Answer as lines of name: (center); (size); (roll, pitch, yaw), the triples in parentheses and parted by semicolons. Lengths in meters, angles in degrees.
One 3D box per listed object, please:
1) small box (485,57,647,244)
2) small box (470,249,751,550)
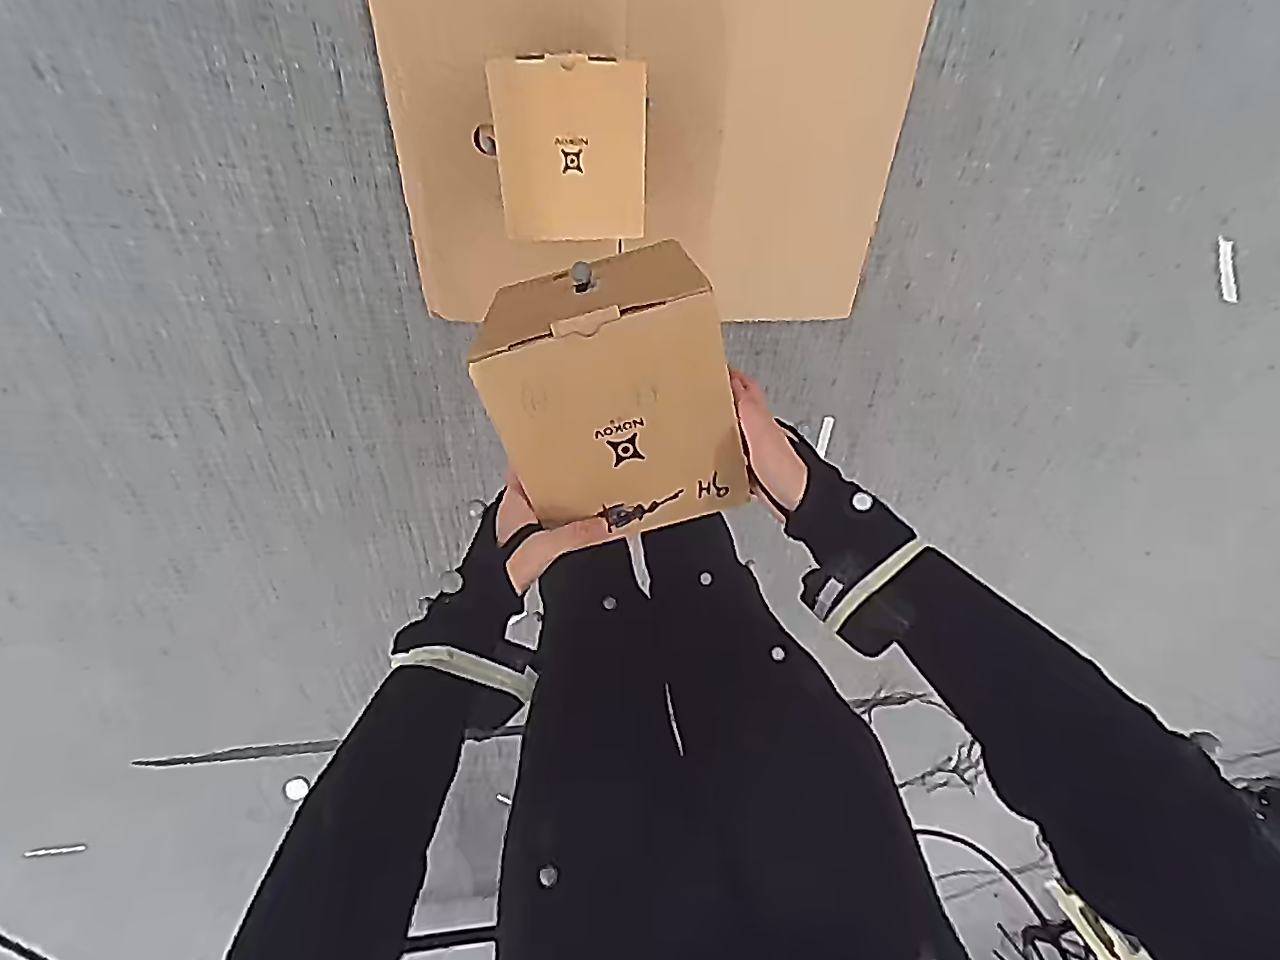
small box: (-0.085, -0.401, 0.659); (0.168, 0.176, 0.179); (-4, 126, -7)
small box: (-0.019, -0.076, 0.448); (0.168, 0.176, 0.179); (-15, 124, 4)
